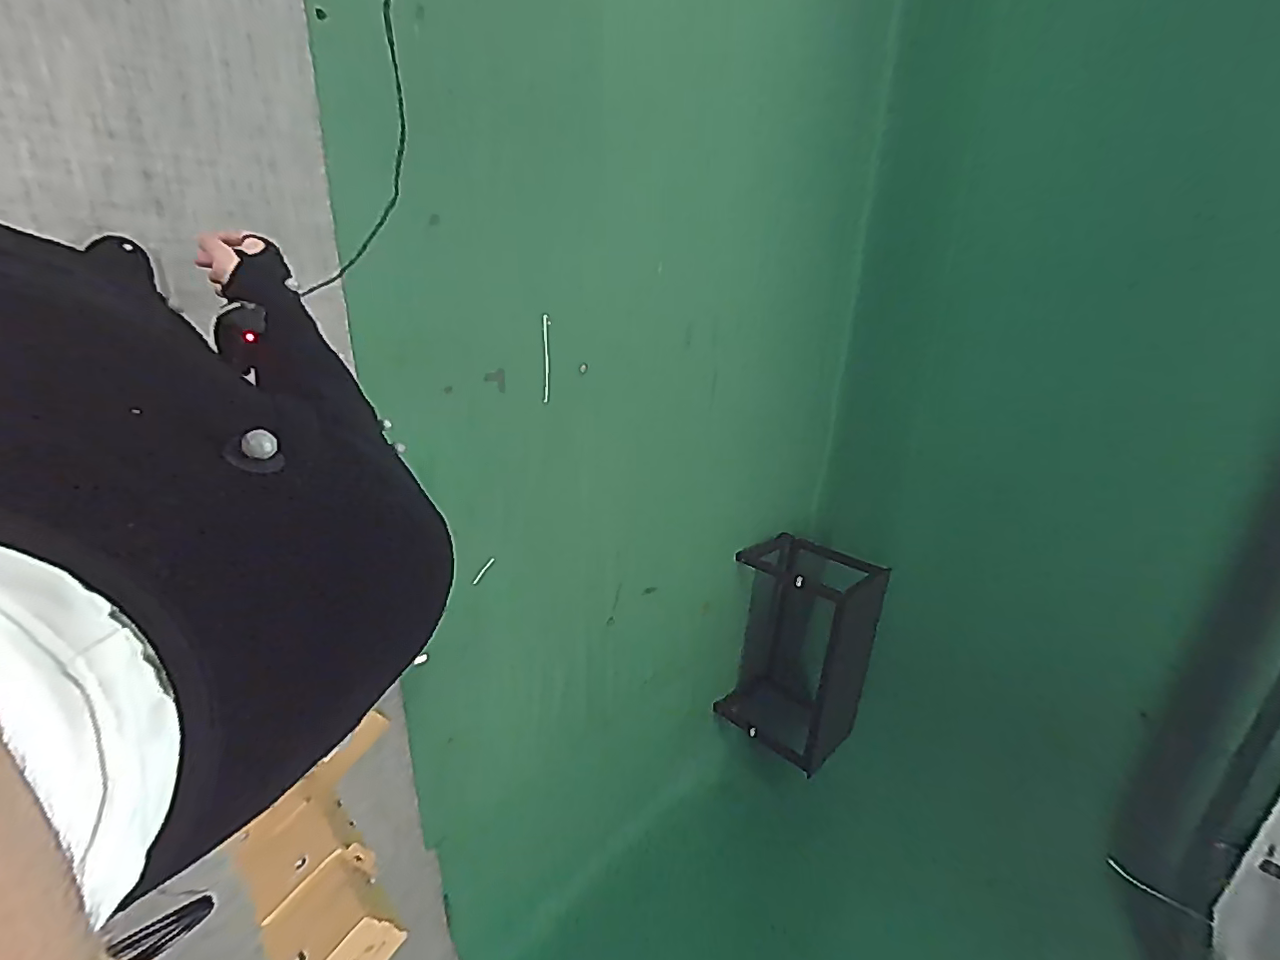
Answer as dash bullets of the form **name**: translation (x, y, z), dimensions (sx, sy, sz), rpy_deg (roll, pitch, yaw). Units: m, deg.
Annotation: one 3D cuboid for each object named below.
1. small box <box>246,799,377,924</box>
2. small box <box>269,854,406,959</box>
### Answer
- **small box**: translation (-0.752, 0.880, 1.237), dimensions (0.179, 0.176, 0.168), rpy_deg (-43, 133, -28)
- **small box**: translation (-0.639, 0.943, 1.133), dimensions (0.179, 0.176, 0.168), rpy_deg (-43, 134, -28)
